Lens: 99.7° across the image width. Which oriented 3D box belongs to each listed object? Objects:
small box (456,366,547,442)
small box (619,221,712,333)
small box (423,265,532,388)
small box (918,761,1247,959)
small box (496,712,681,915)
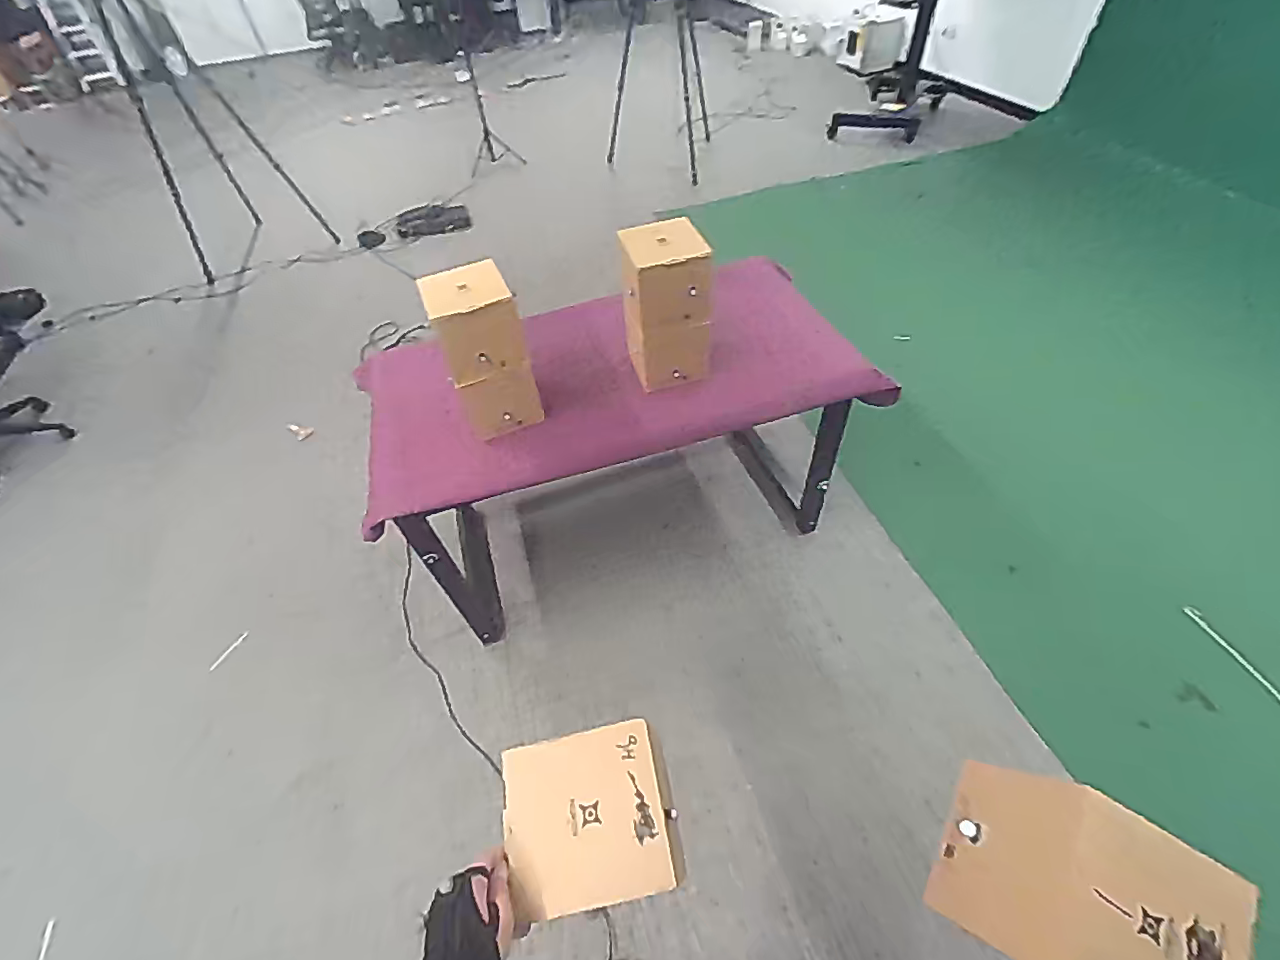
[{"bbox_3d":[-0.334,-0.221,1.286,0.168,0.176,0.179,-20,51,-10],"label":"small box"},{"bbox_3d":[0.059,-0.450,1.220,0.168,0.176,0.179,-15,50,-6],"label":"small box"},{"bbox_3d":[-0.347,-0.329,1.165,0.168,0.176,0.179,-22,51,-12],"label":"small box"},{"bbox_3d":[0.426,0.408,0.542,0.179,0.176,0.168,30,68,3],"label":"small box"},{"bbox_3d":[-0.058,0.399,0.654,0.179,0.176,0.168,-14,57,1],"label":"small box"}]
